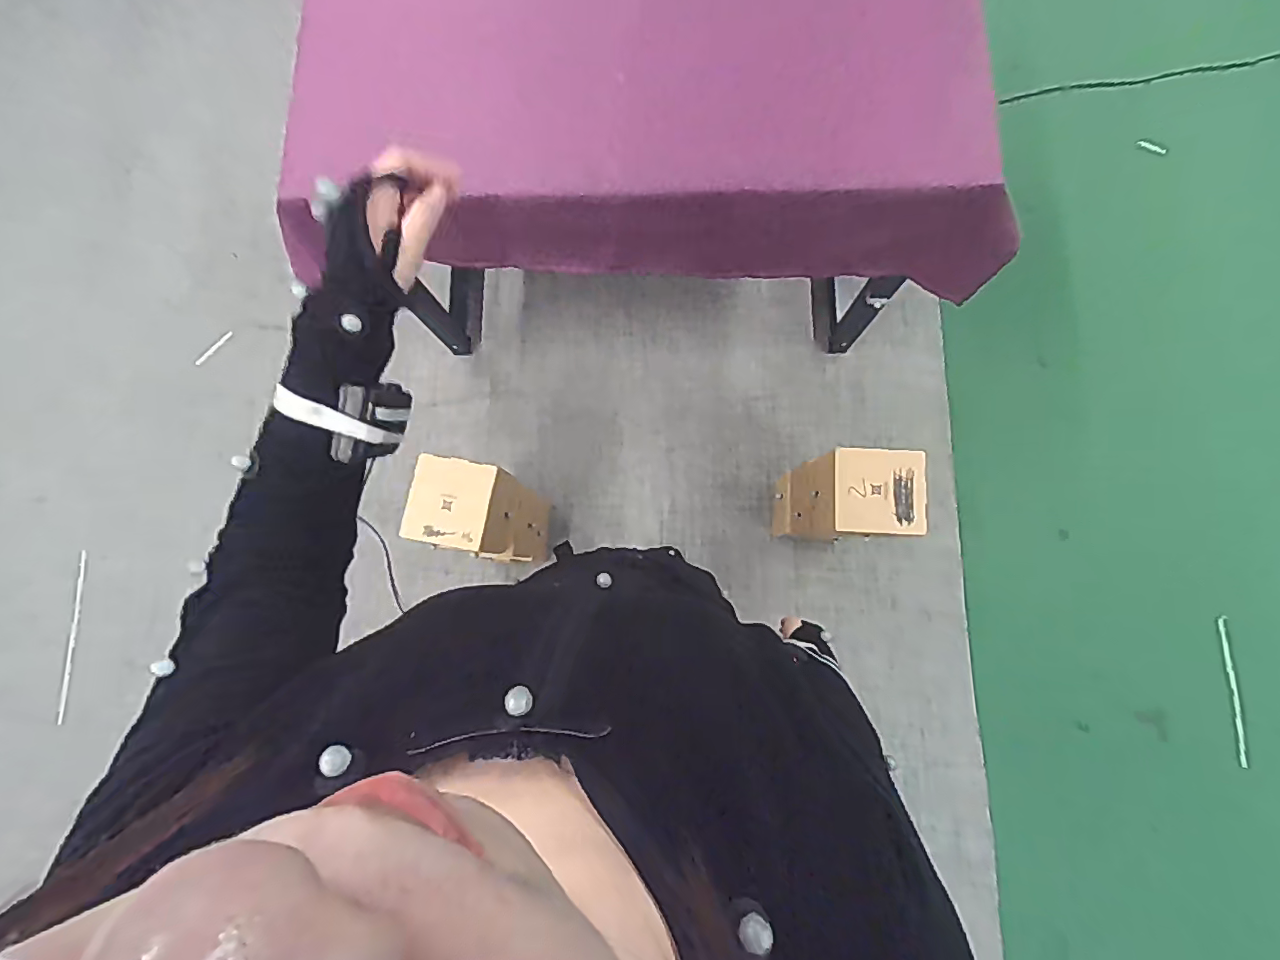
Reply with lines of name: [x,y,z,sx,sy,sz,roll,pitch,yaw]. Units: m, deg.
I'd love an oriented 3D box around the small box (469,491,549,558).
small box: [-0.349,0.121,1.471,0.168,0.176,0.179,3,80,2]

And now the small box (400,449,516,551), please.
small box: [-0.375,0.049,1.150,0.168,0.176,0.179,10,81,4]

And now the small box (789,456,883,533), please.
small box: [0.459,0.040,1.291,0.179,0.176,0.168,2,82,1]

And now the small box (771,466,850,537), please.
small box: [0.455,0.063,1.452,0.179,0.176,0.168,4,81,2]

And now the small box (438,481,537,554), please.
small box: [-0.362,0.088,1.310,0.179,0.176,0.168,7,82,2]
